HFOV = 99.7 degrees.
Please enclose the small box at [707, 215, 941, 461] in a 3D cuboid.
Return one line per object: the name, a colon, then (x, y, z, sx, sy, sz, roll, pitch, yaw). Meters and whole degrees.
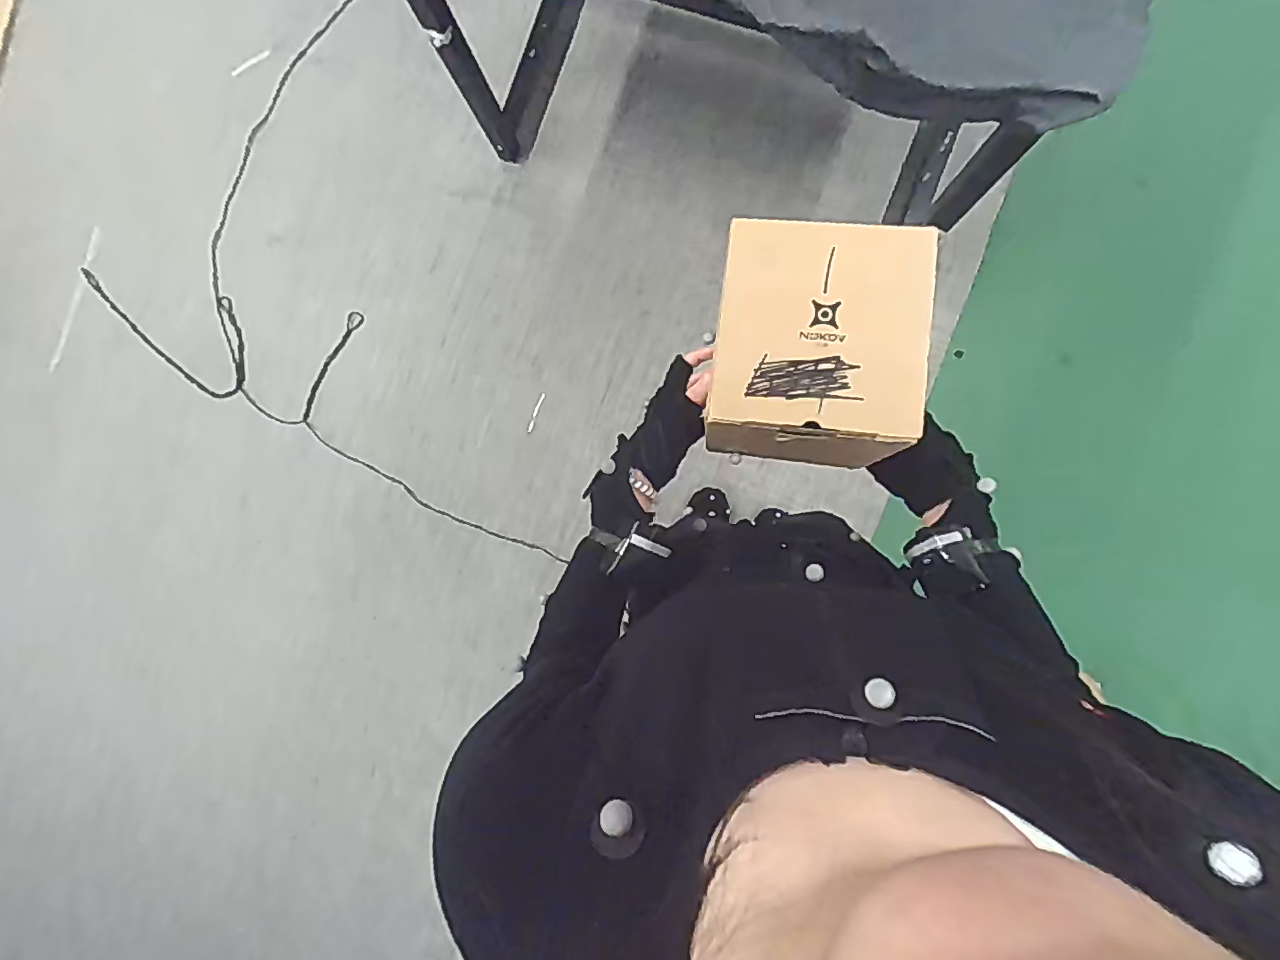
small box: (0.157, -0.118, 0.512, 0.168, 0.176, 0.179, 7, 85, 7)
